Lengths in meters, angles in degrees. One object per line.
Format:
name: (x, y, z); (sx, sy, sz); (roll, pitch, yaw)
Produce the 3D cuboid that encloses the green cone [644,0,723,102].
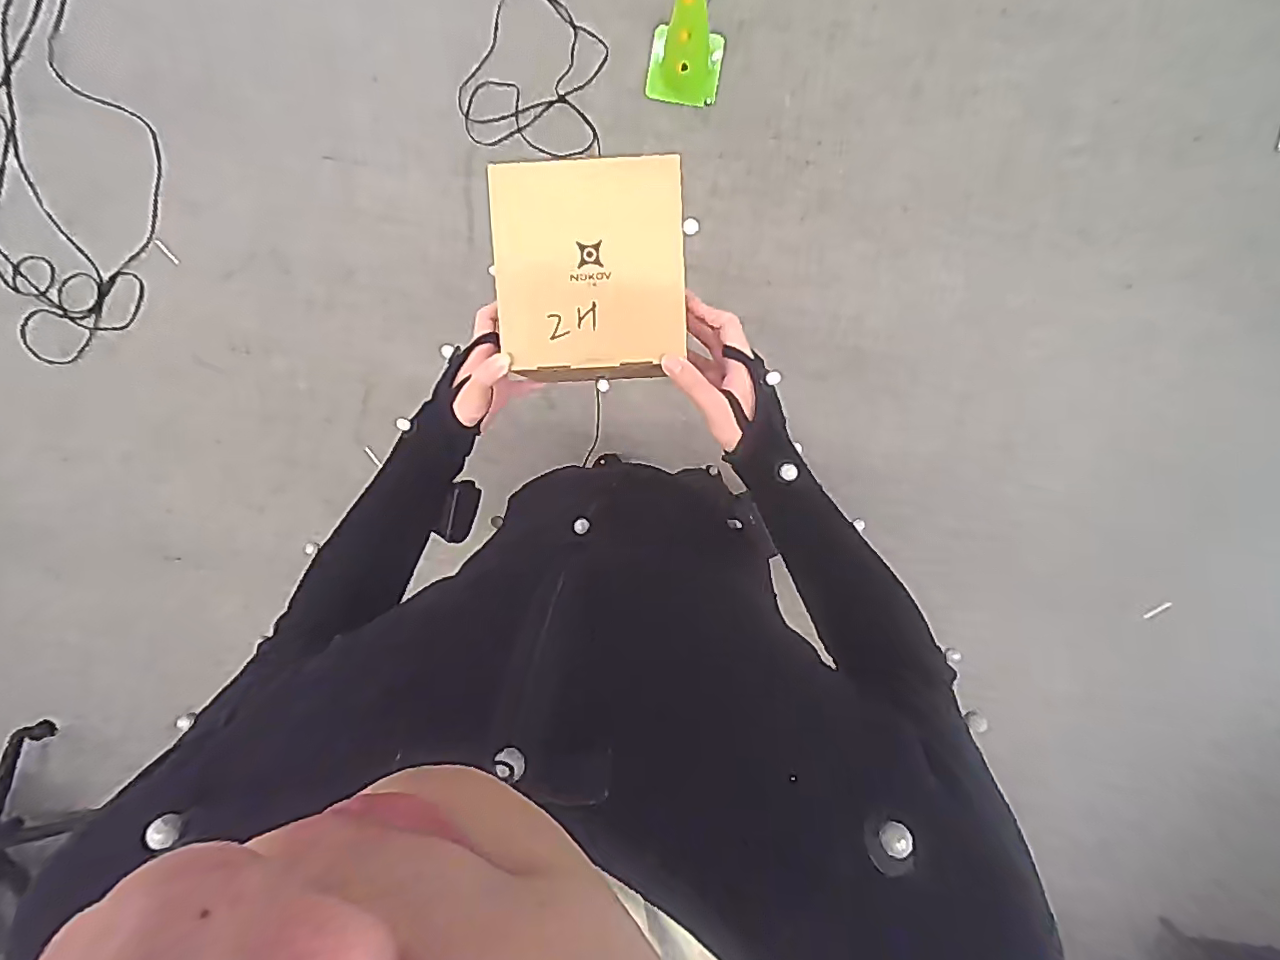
green cone: (0.116, -1.159, 1.337); (0.202, 0.368, 0.200); (9, 94, 1)
